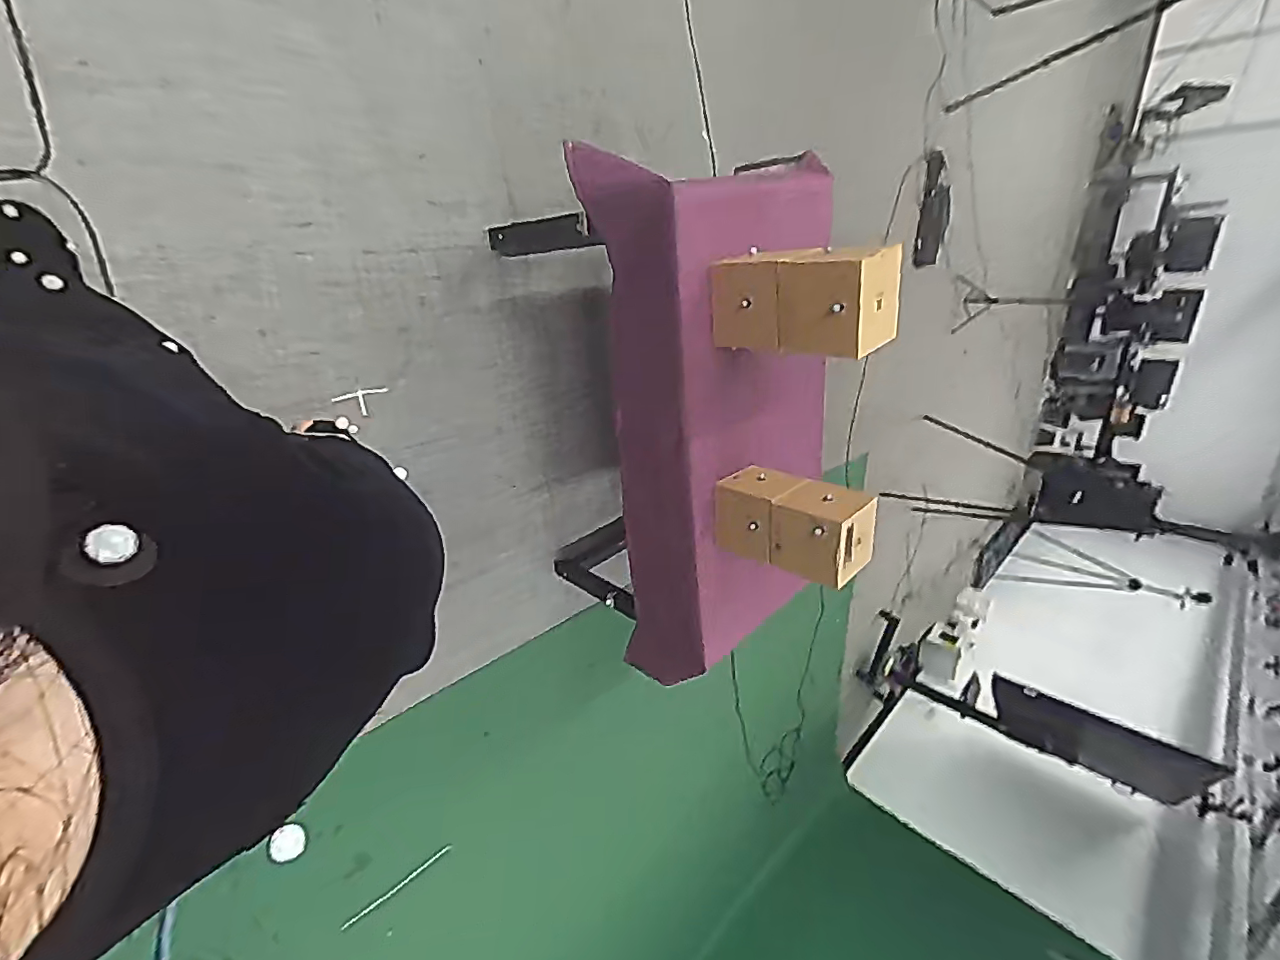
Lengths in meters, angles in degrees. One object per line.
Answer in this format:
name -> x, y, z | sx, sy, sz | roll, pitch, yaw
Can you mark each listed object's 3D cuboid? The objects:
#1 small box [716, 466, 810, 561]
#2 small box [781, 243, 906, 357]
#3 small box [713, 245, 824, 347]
small box -> 0.304, 0.072, 1.348 | 0.168, 0.176, 0.179 | -22, 119, -38
small box -> 0.386, -0.350, 1.043 | 0.168, 0.176, 0.179 | -30, 123, -35
small box -> 0.273, -0.393, 1.151 | 0.168, 0.176, 0.179 | -29, 122, -36
